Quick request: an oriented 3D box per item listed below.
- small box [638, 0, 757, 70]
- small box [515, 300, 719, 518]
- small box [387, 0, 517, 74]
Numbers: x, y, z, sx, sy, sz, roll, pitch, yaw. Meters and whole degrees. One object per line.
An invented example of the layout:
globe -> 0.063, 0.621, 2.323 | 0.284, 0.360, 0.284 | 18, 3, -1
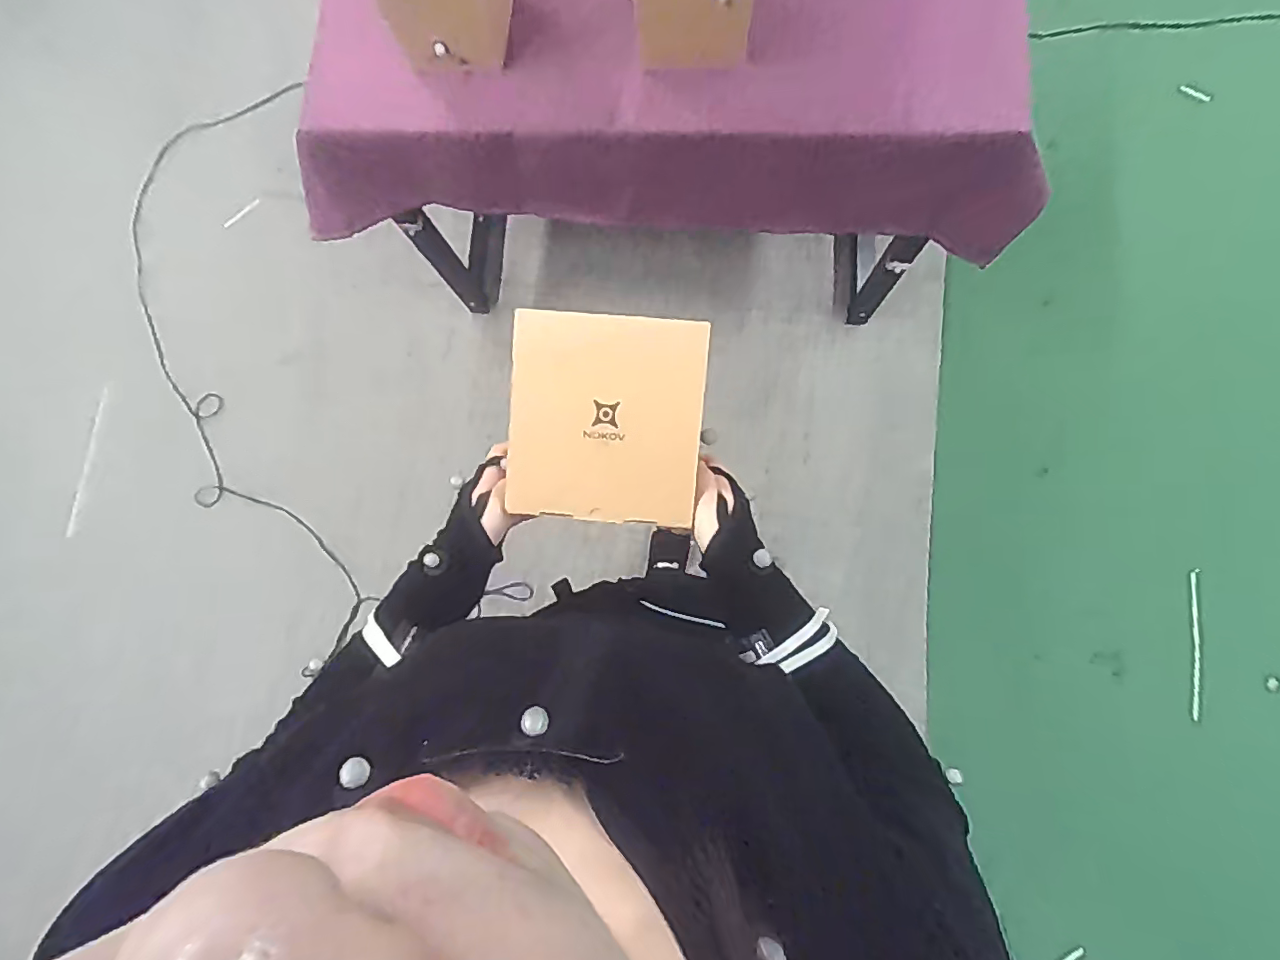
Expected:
small box -> 0.092, -0.771, 0.829 | 0.179, 0.176, 0.168 | 3, 81, 5
small box -> -0.019, -0.069, 0.542 | 0.168, 0.176, 0.179 | 5, 98, 2
small box -> -0.304, -0.802, 0.865 | 0.168, 0.176, 0.179 | 5, 83, 5
